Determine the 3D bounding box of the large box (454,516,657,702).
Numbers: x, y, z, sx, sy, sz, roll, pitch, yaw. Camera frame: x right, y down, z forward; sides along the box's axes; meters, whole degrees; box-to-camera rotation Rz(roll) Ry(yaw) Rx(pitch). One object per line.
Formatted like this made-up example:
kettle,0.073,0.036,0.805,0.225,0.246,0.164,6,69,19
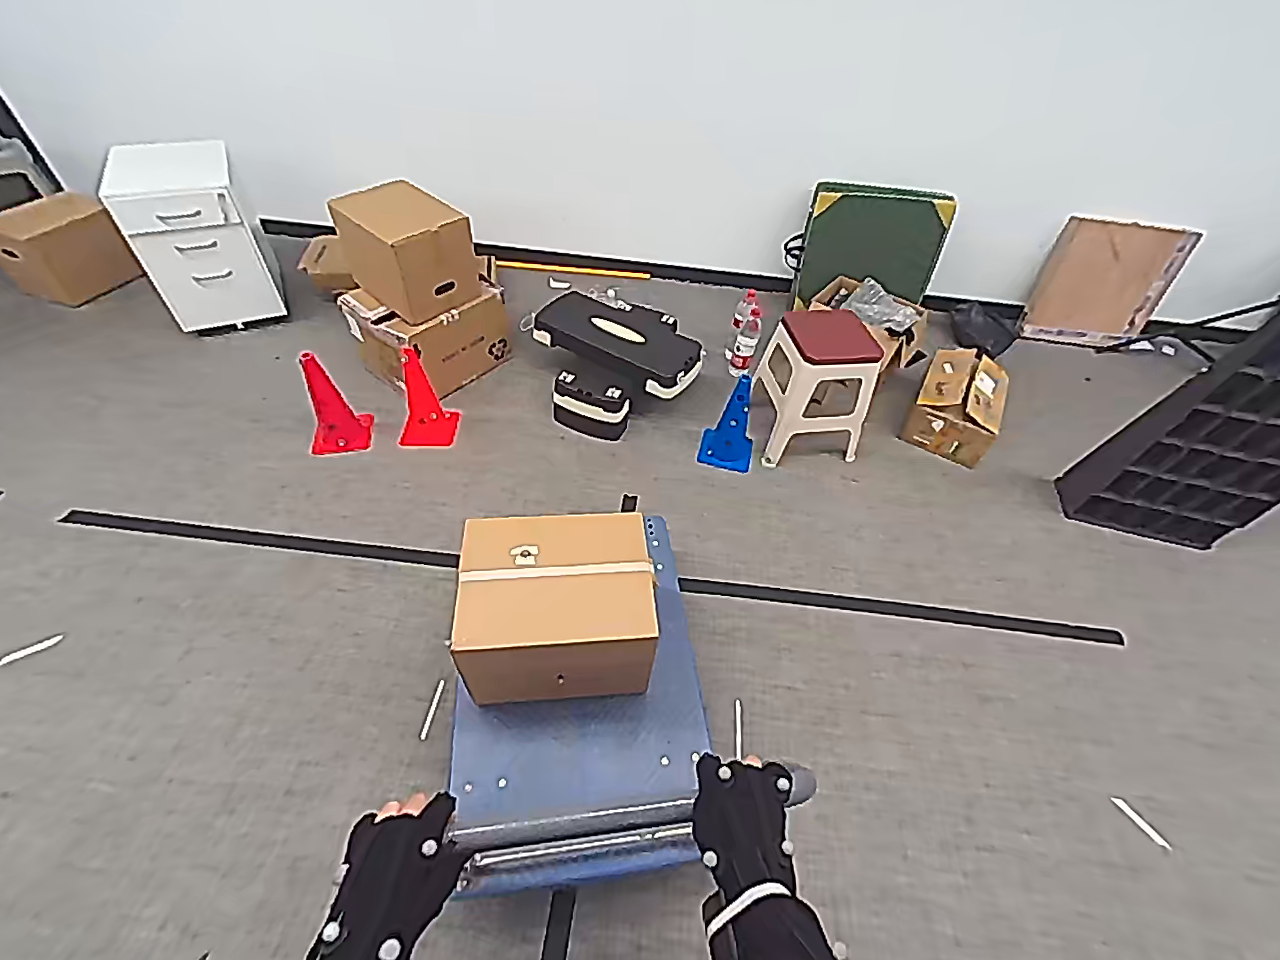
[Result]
large box,-0.186,0.306,1.271,0.408,0.320,0.320,-2,50,-6
